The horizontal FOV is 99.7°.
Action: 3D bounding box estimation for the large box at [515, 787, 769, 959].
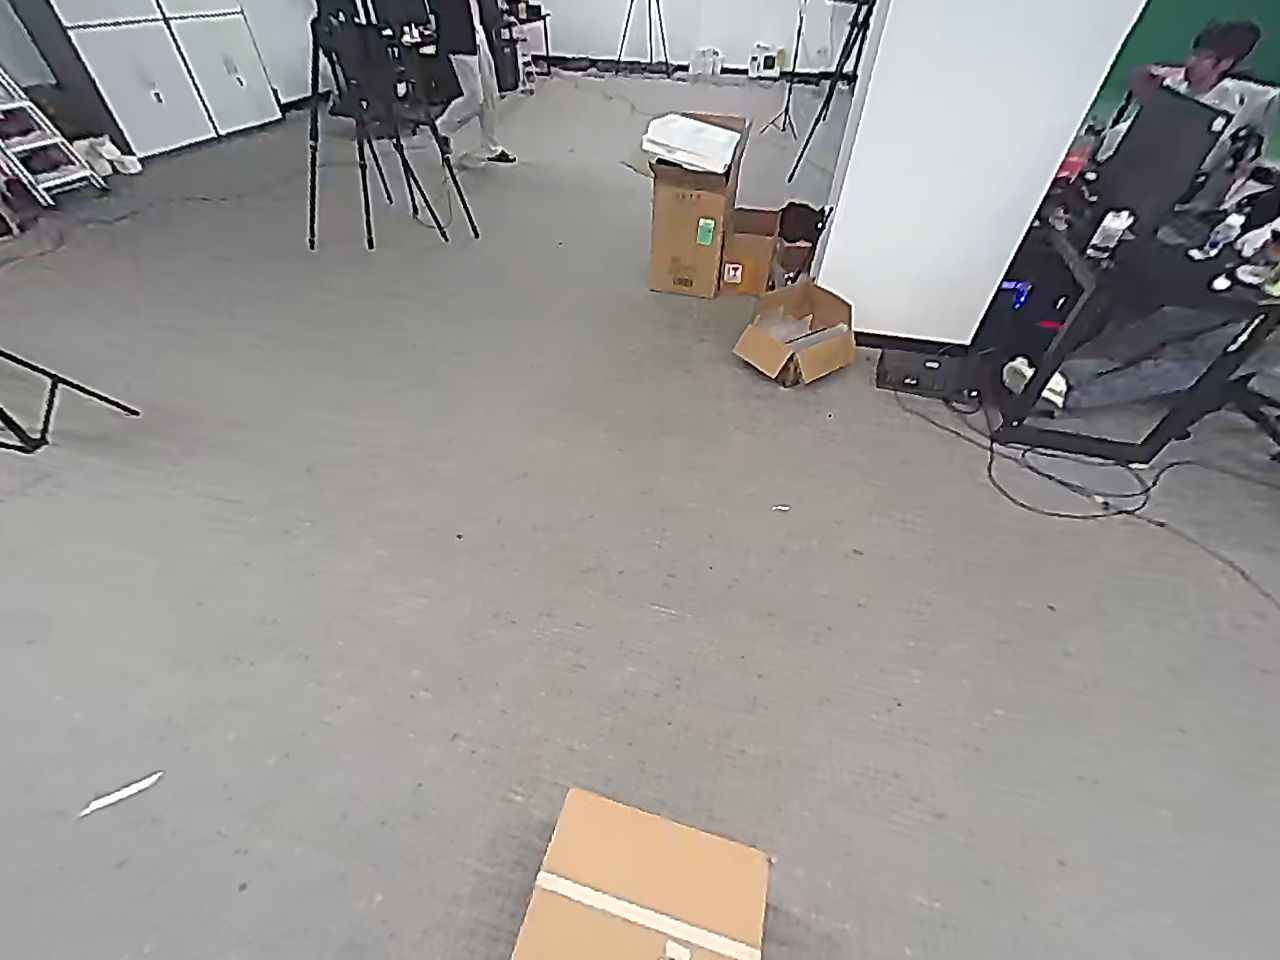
[{"bbox_3d":[0.007,0.864,1.053,0.408,0.320,0.320,13,46,10],"label":"large box"}]
